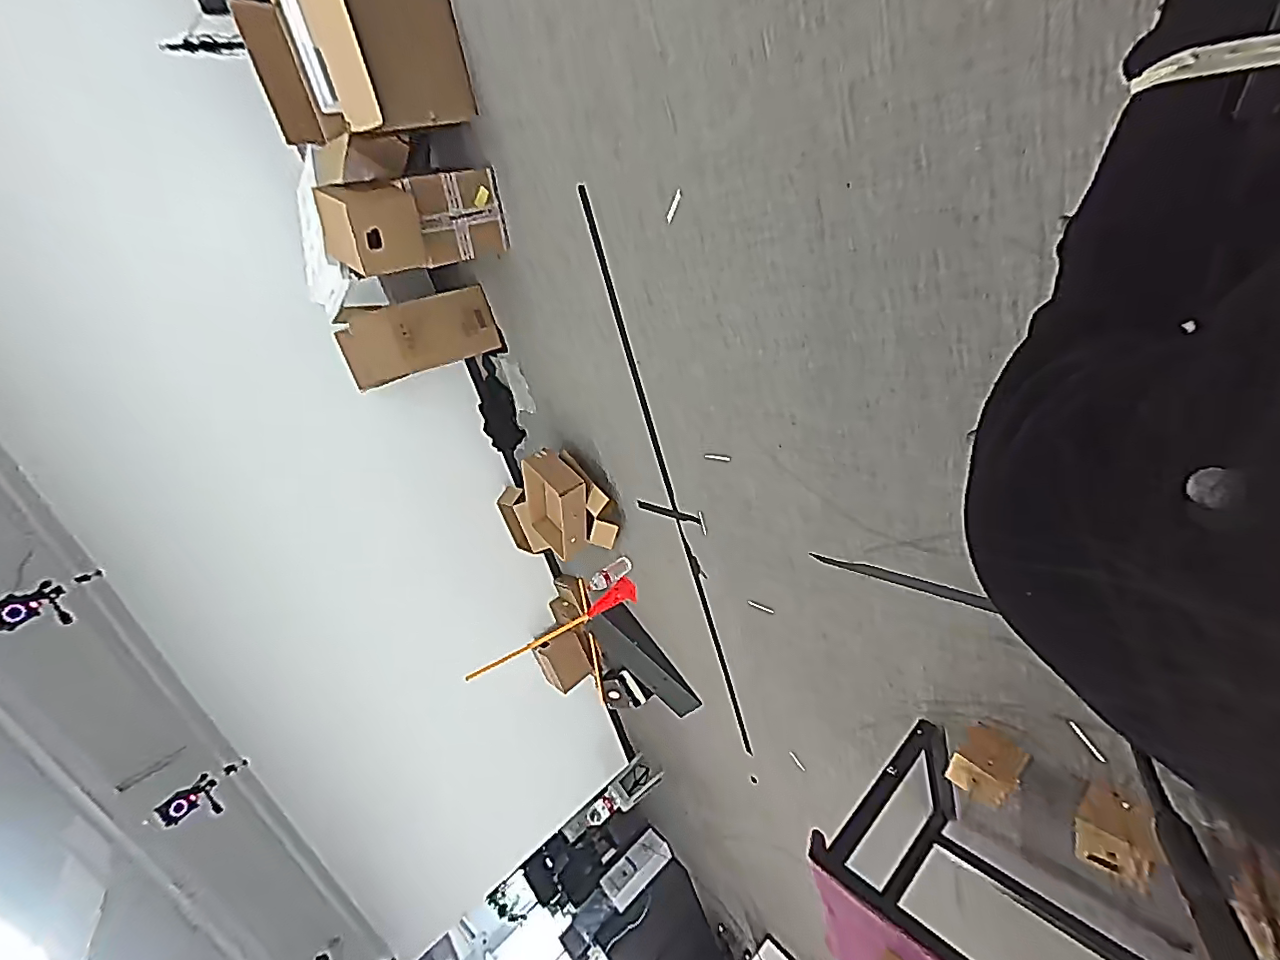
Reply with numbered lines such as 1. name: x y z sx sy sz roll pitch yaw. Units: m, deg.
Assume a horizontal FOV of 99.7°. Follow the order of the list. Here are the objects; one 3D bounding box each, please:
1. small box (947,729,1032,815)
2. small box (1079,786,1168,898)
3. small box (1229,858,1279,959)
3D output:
1. small box: 1.208 0.999 1.871 0.179 0.176 0.168 29 137 40
2. small box: 1.426 1.059 1.595 0.168 0.176 0.179 11 124 52
3. small box: 1.620 1.108 1.349 0.168 0.176 0.179 13 127 52
